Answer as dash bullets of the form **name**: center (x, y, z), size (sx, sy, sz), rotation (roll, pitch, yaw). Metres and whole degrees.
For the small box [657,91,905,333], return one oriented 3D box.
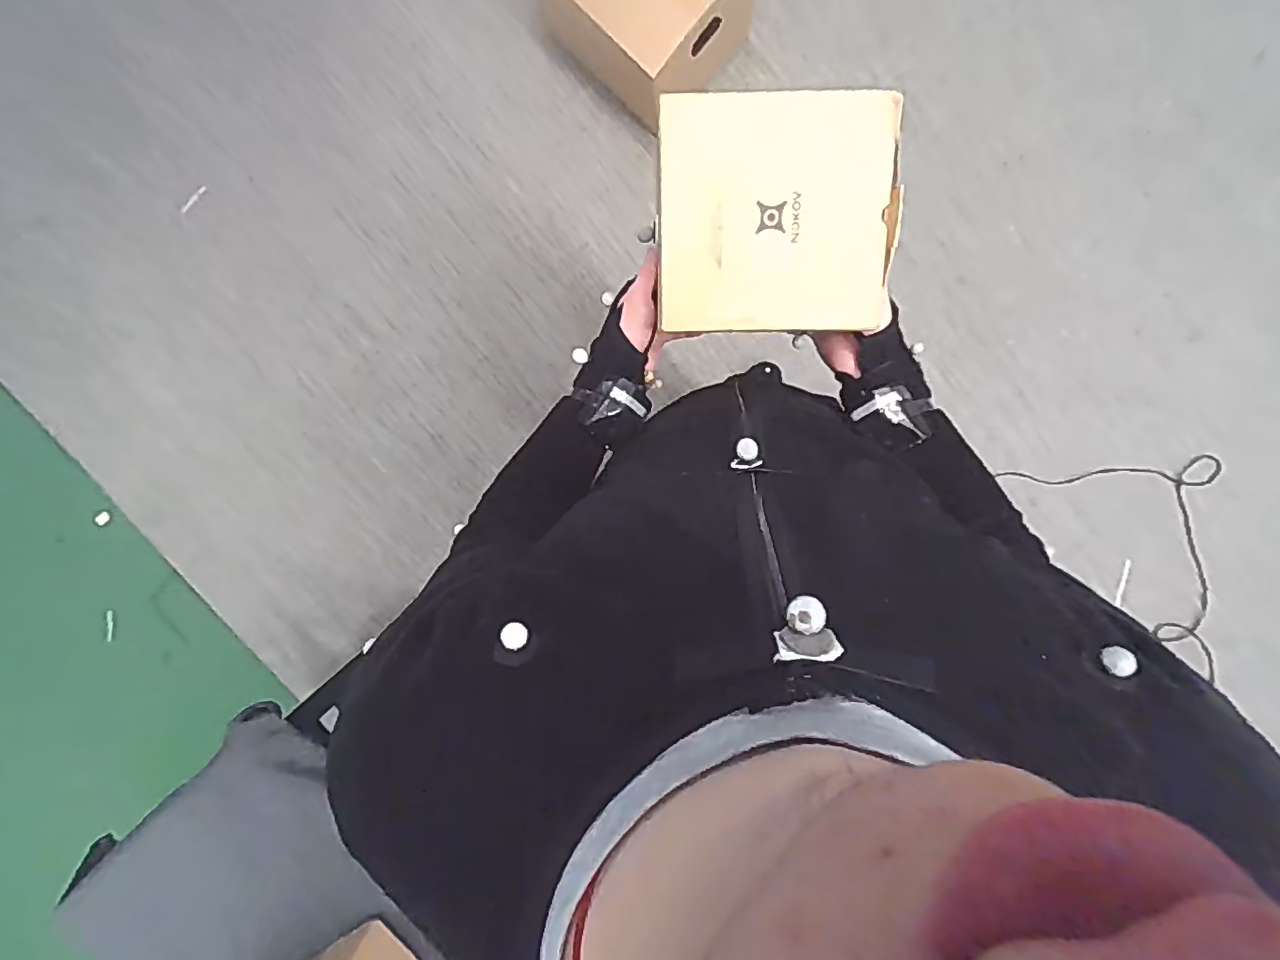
- **small box**: center (0.105, -0.218, 0.483), size (0.179, 0.176, 0.168), rotation (-1, 105, 2)
